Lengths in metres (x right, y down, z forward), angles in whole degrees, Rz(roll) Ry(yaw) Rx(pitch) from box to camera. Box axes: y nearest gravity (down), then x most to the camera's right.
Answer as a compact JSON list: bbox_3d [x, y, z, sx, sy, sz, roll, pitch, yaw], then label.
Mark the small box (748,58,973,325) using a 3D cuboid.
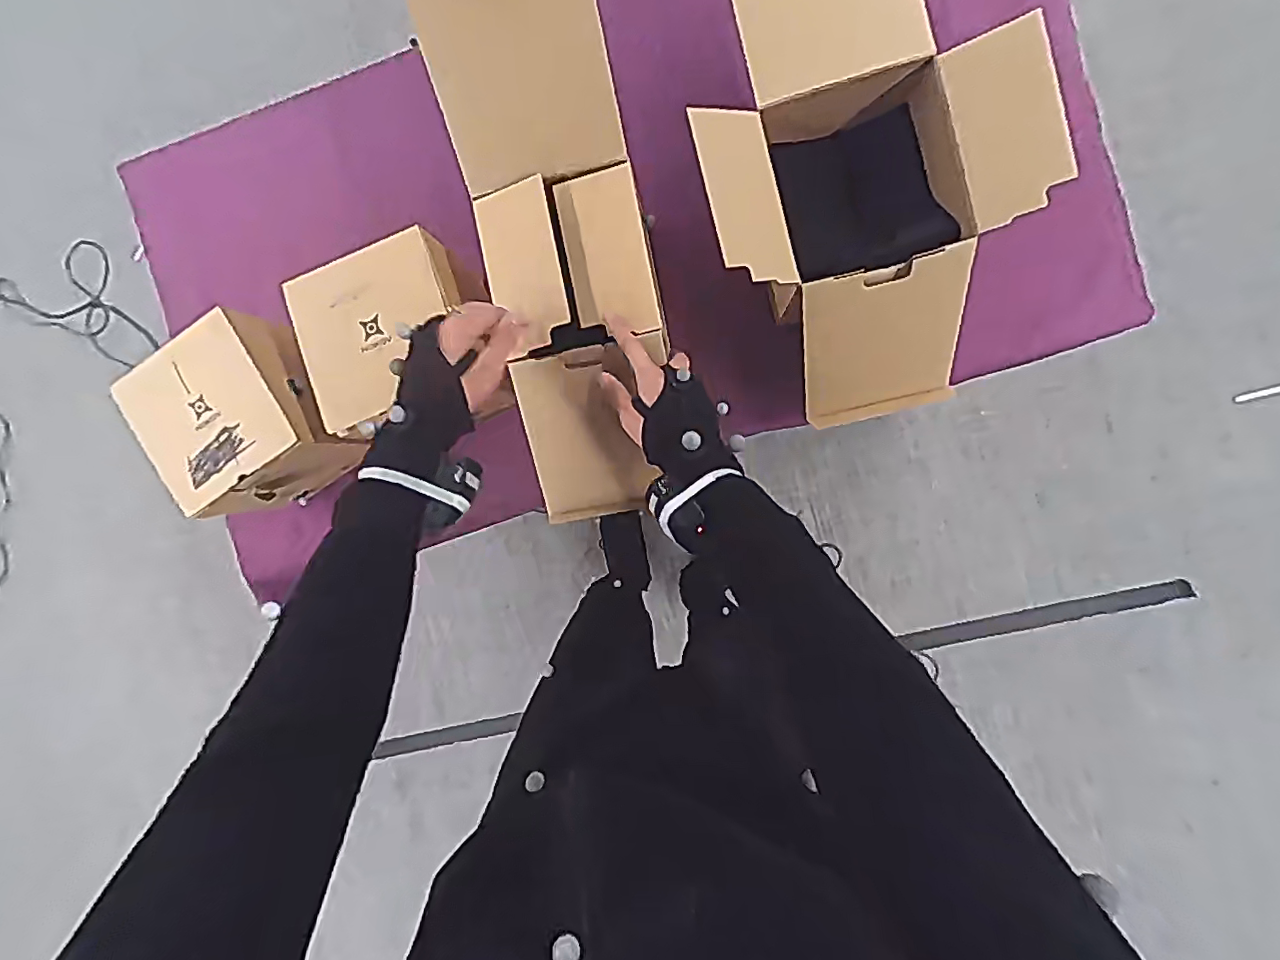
[{"bbox_3d":[0.218,-0.287,0.581,0.168,0.176,0.179,-13,91,8],"label":"small box"}]
